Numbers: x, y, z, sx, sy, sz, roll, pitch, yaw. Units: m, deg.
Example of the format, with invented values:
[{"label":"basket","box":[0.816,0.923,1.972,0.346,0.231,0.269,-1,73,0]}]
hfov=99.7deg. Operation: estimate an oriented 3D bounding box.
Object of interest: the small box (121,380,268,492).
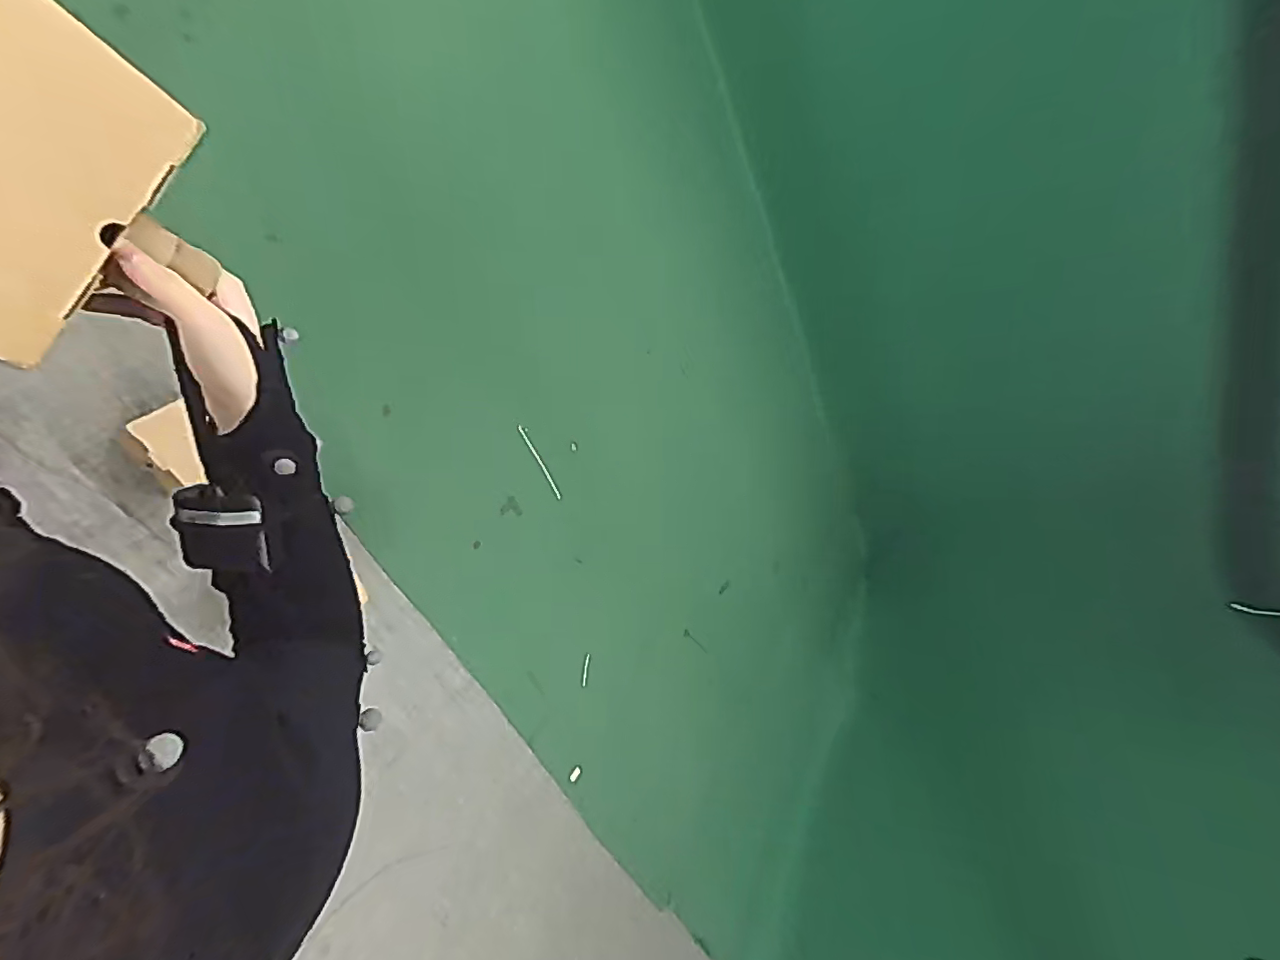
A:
[{"label":"small box","box":[-0.950,-0.087,1.151,0.179,0.176,0.168,-51,123,-39]}]
